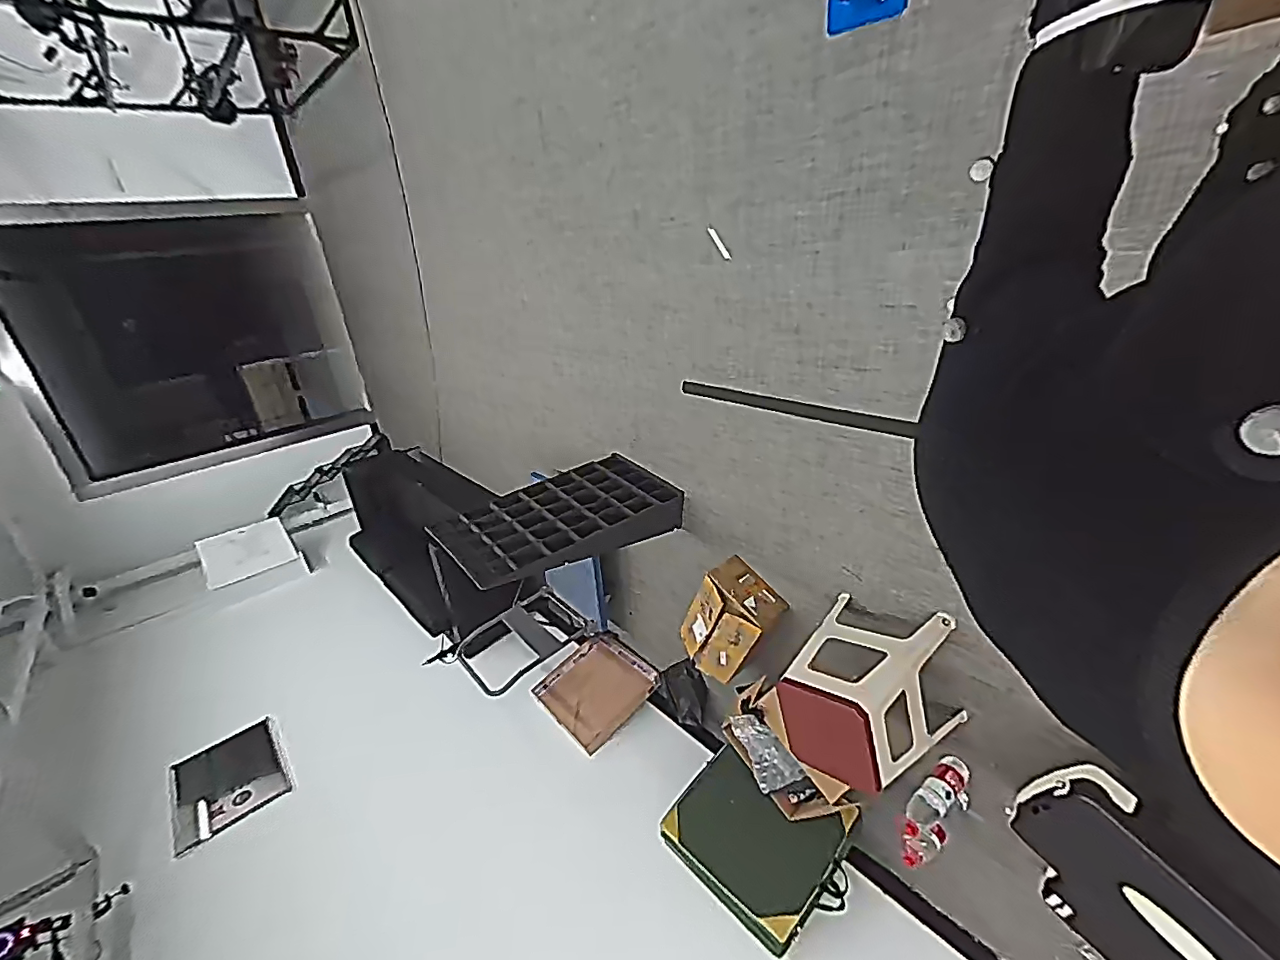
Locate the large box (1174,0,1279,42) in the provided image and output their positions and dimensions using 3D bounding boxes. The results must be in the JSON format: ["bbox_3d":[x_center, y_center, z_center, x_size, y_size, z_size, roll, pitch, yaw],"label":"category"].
[{"bbox_3d":[0.535,-0.466,0.231,0.408,0.320,0.320,14,123,44],"label":"large box"}]

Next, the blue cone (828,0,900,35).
[{"bbox_3d":[0.400,-1.117,1.162,0.192,0.380,0.193,26,129,44],"label":"blue cone"}]
